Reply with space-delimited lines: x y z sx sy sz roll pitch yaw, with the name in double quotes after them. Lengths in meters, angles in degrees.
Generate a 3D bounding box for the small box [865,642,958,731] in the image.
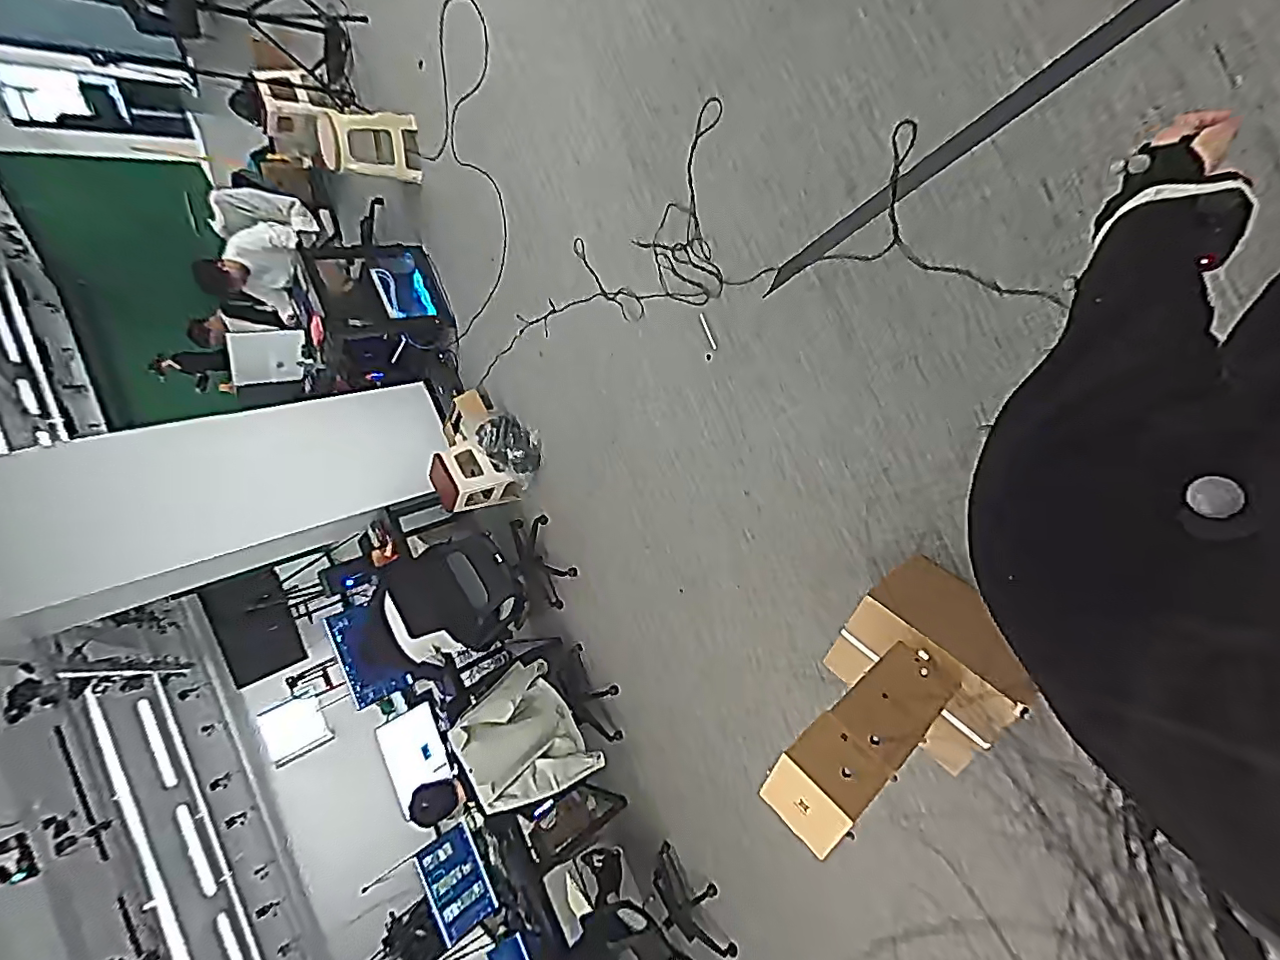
0.636 0.534 1.317 0.168 0.176 0.179 39 133 34 "small box"

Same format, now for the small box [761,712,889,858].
0.387 0.625 1.125 0.168 0.176 0.179 39 134 34 "small box"

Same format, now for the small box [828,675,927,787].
0.512 0.583 1.222 0.168 0.176 0.179 39 134 34 "small box"
